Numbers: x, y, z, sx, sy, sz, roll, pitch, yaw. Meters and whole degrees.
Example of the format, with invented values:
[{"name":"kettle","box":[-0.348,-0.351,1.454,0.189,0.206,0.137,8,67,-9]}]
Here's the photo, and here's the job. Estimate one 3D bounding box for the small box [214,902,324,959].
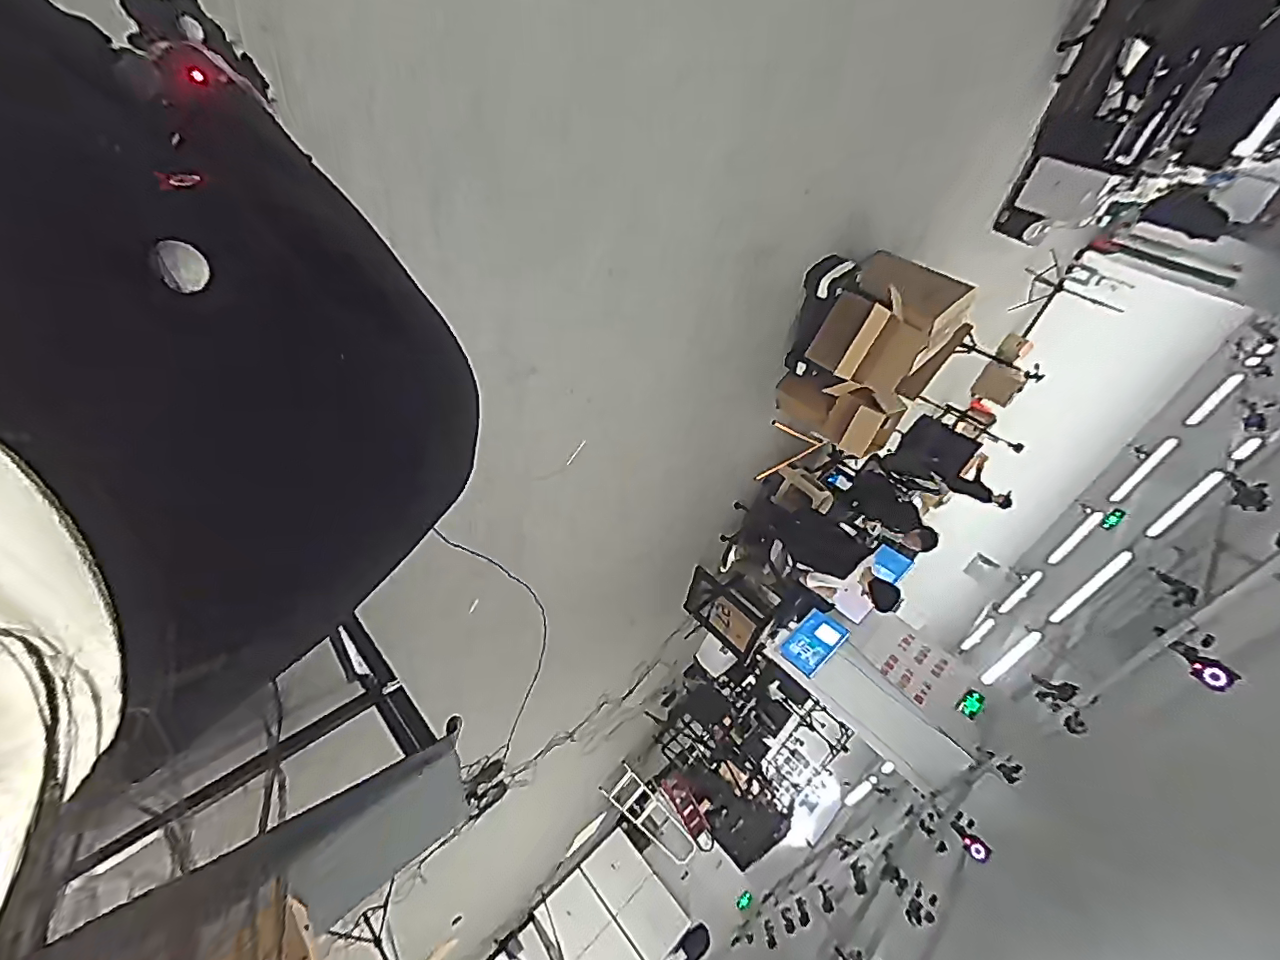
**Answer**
[{"name":"small box","box":[-0.923,1.213,1.351,0.179,0.176,0.168,-28,143,-35]}]
